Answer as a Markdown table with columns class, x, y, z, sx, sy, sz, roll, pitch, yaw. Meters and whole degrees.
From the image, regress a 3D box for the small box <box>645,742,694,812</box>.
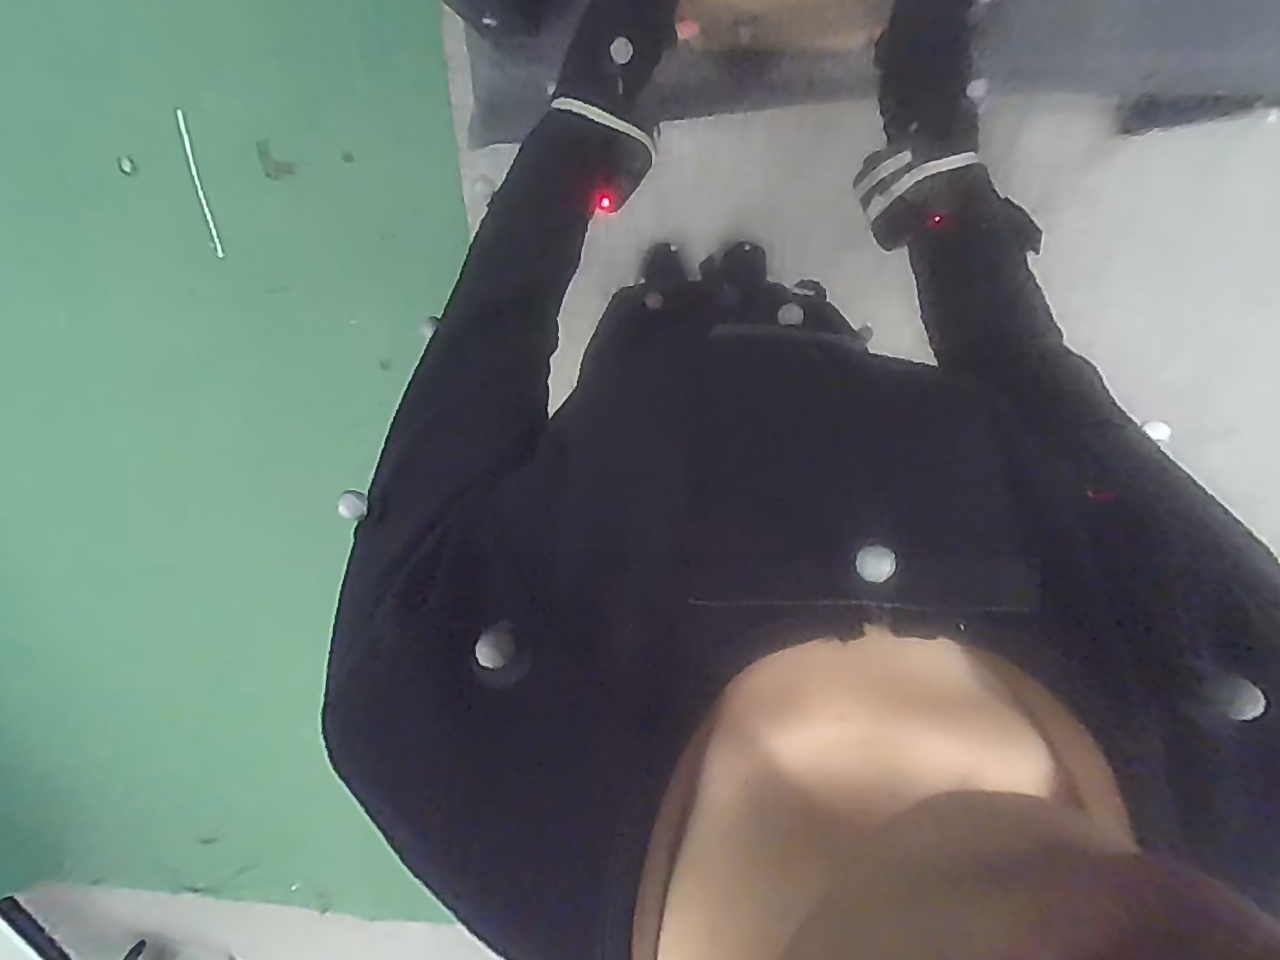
| class | x | y | z | sx | sy | sz | roll | pitch | yaw |
| --- | --- | --- | --- | --- | --- | --- | --- | --- | --- |
| small box | 0.112 | 1.093 | 1.998 | 0.168 | 0.176 | 0.179 | -4 | 115 | 8 |

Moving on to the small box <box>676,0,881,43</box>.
| class | x | y | z | sx | sy | sz | roll | pitch | yaw |
| --- | --- | --- | --- | --- | --- | --- | --- | --- | --- |
| small box | 0.116 | -0.474 | 0.421 | 0.176 | 0.168 | 0.179 | 7 | 115 | 10 |
